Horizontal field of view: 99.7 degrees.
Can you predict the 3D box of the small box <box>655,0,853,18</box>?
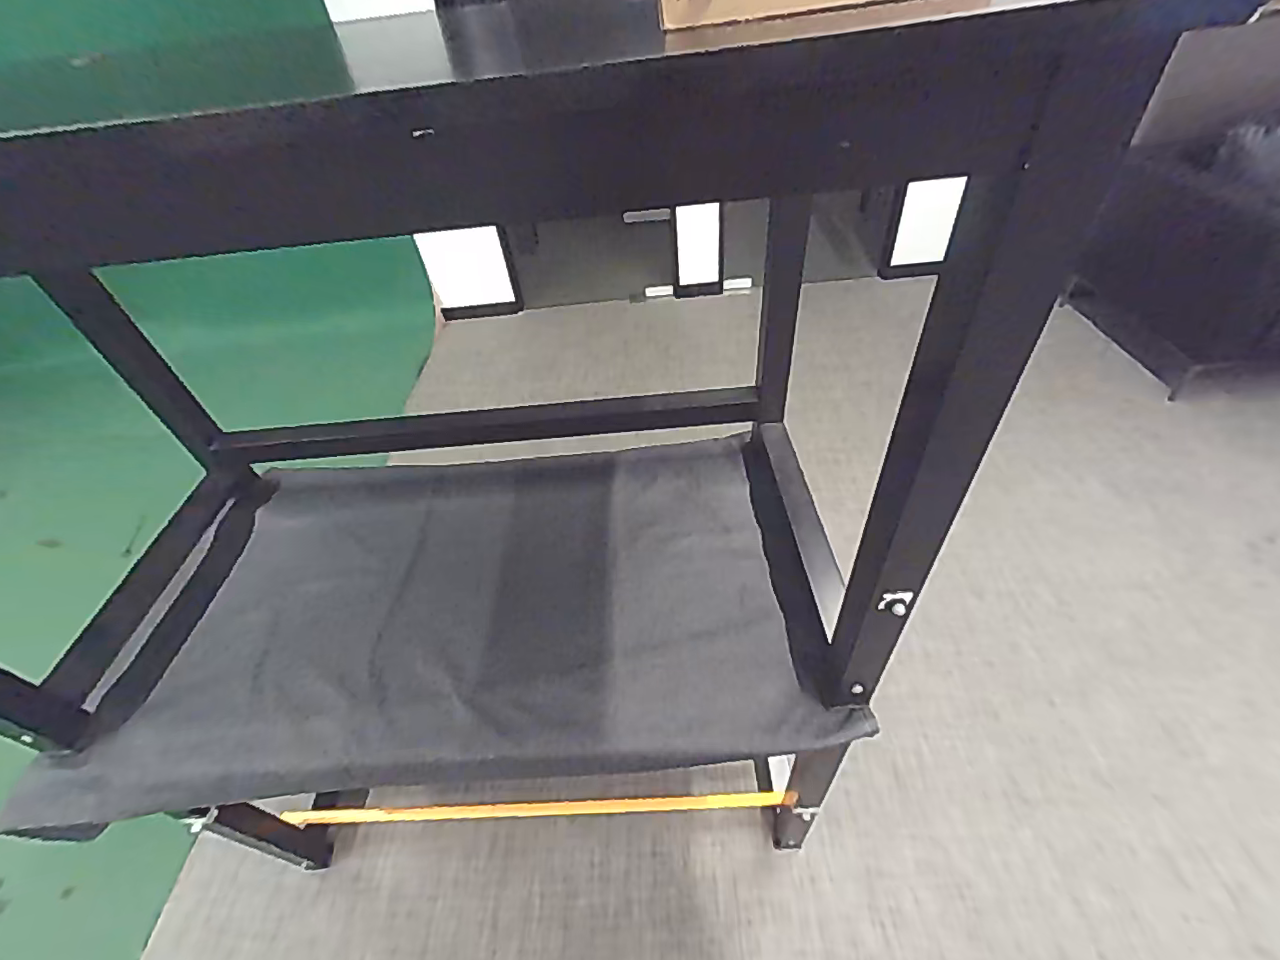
[{"bbox_3d":[0.085,-0.360,0.281,0.168,0.176,0.179,-2,43,6],"label":"small box"}]
